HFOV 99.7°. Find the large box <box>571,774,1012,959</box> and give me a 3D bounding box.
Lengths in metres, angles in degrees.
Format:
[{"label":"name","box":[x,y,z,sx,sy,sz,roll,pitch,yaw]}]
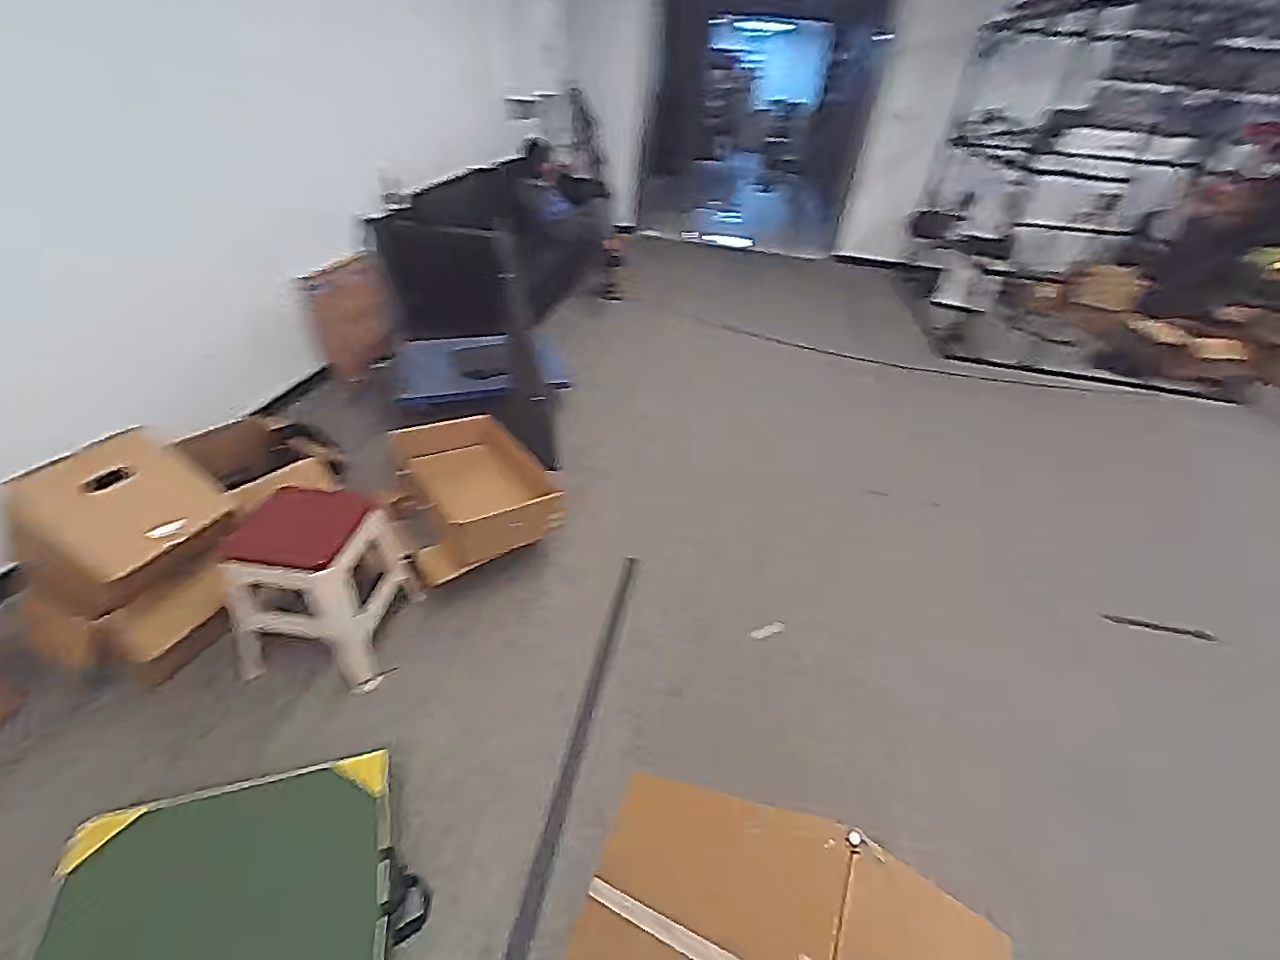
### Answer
[{"label":"large box","box":[0.167,0.622,0.675,0.320,0.408,0.320,41,56,-20]}]
